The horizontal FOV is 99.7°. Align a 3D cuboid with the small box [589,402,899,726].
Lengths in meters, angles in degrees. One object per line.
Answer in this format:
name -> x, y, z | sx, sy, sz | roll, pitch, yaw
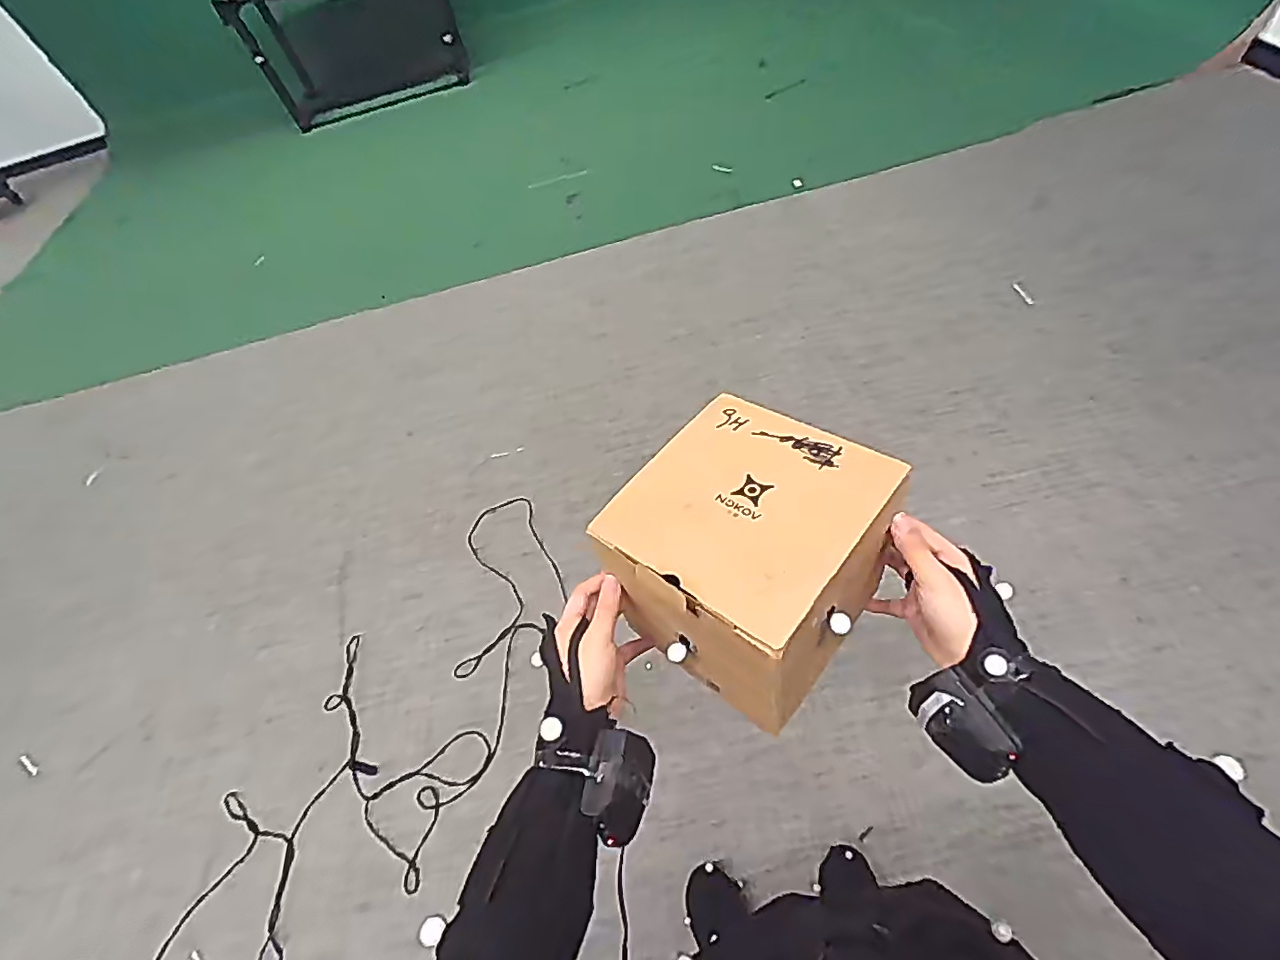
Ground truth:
small box -> 0.090, 0.071, 0.457 | 0.168, 0.176, 0.179 | 29, 62, 33
